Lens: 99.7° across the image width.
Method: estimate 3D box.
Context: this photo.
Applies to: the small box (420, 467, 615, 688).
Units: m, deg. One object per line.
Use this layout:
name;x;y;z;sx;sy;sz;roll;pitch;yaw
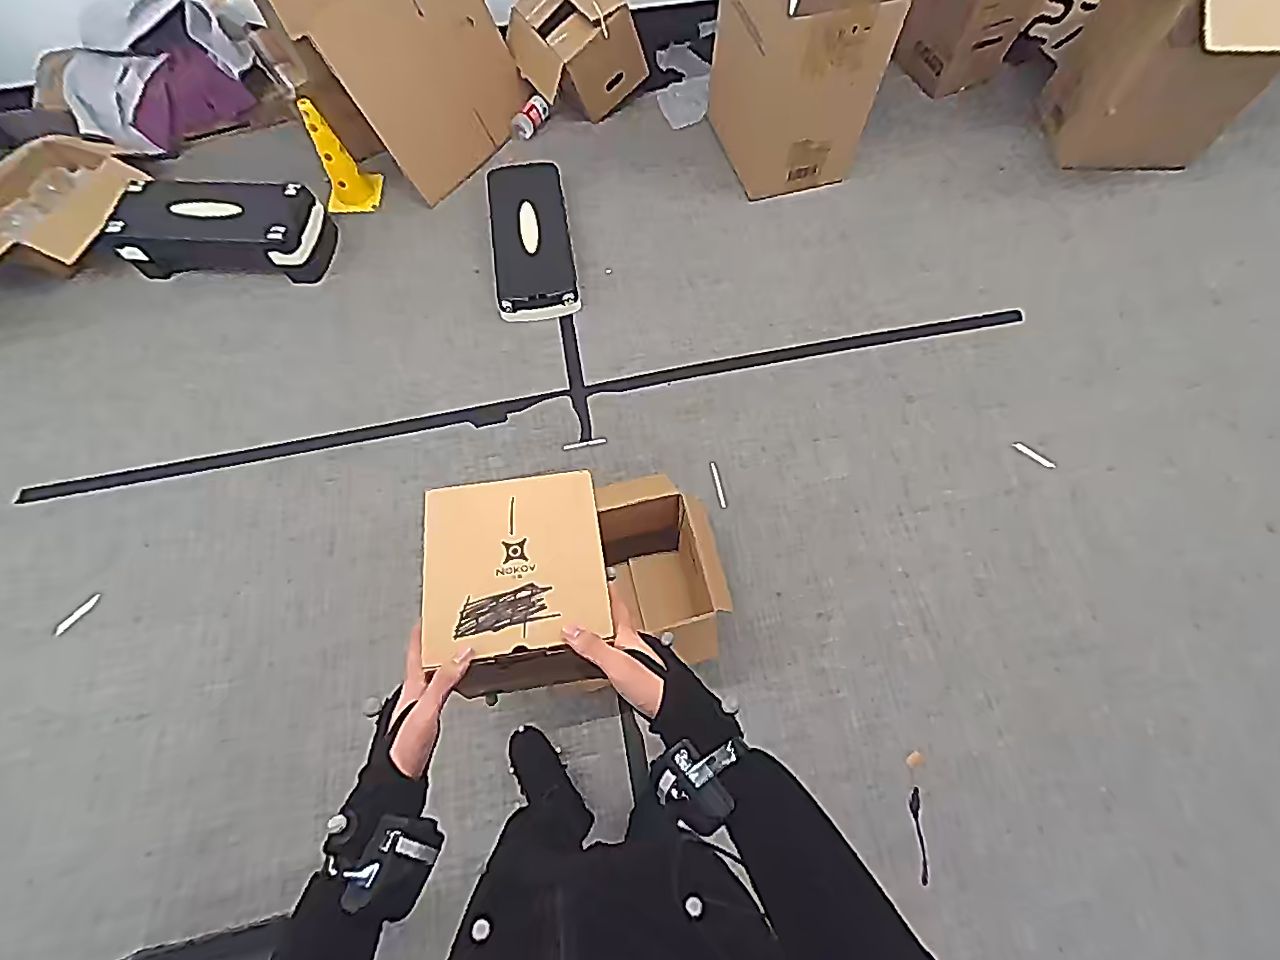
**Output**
small box;-0.117;0.110;0.563;0.168;0.176;0.179;-7;60;-7
